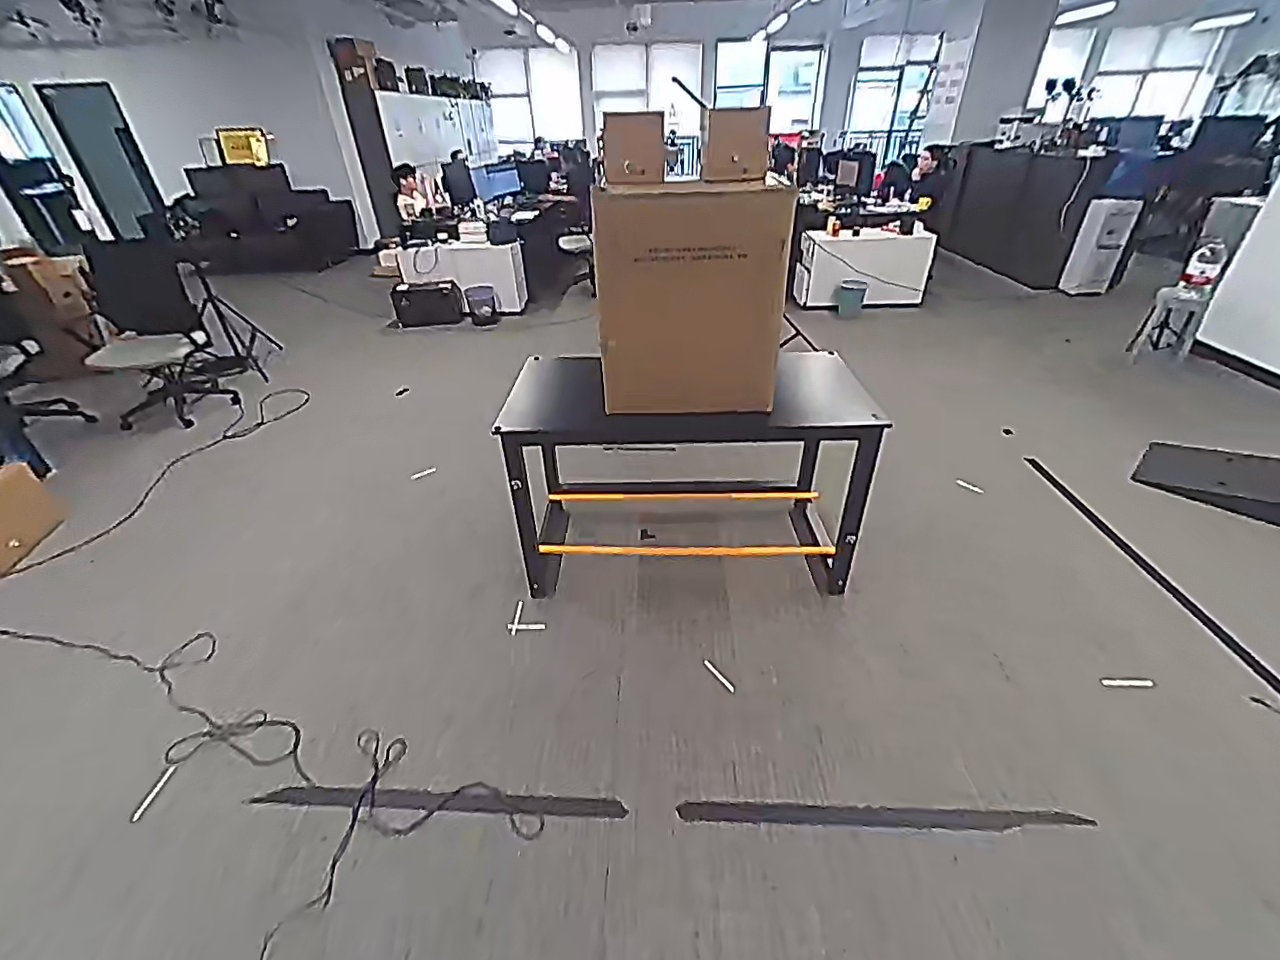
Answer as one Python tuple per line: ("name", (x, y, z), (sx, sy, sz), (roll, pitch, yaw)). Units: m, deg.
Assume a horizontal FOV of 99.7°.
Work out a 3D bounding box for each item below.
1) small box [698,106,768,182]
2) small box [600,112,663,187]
("small box", (0.250, -0.928, 1.498), (0.168, 0.176, 0.179), (-3, 33, 1))
("small box", (-0.021, -0.926, 1.516), (0.168, 0.176, 0.179), (-2, 34, 0))
